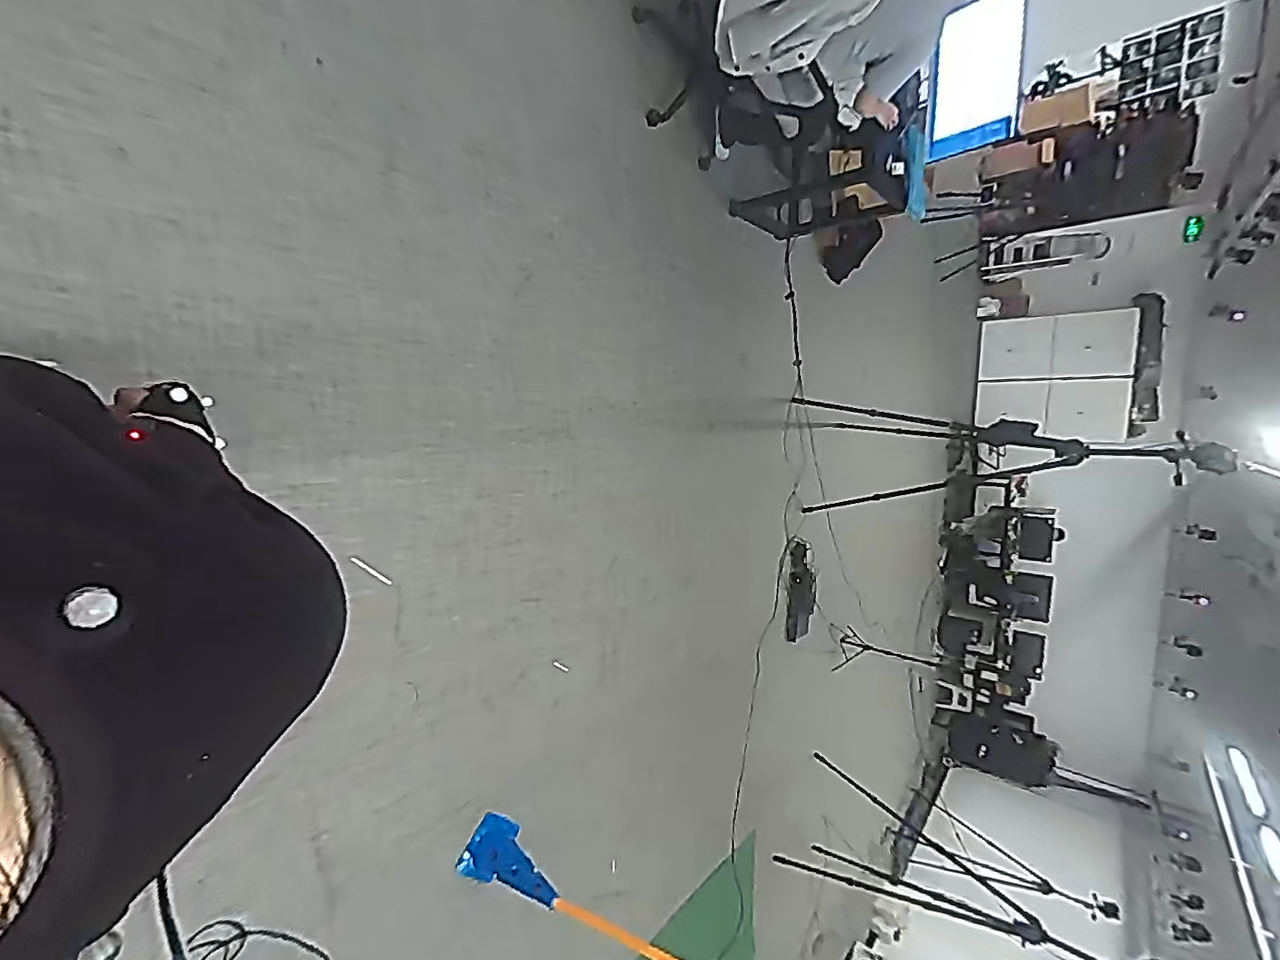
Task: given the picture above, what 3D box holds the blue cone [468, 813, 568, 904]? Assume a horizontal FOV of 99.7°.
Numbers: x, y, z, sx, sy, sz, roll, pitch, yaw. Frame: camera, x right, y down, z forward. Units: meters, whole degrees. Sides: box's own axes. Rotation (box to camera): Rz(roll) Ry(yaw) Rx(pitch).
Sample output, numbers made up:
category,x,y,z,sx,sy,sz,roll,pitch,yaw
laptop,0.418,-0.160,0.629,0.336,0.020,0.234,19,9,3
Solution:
category,x,y,z,sx,sy,sz,roll,pitch,yaw
blue cone,-0.386,1.307,1.818,0.192,0.380,0.193,54,53,-37
